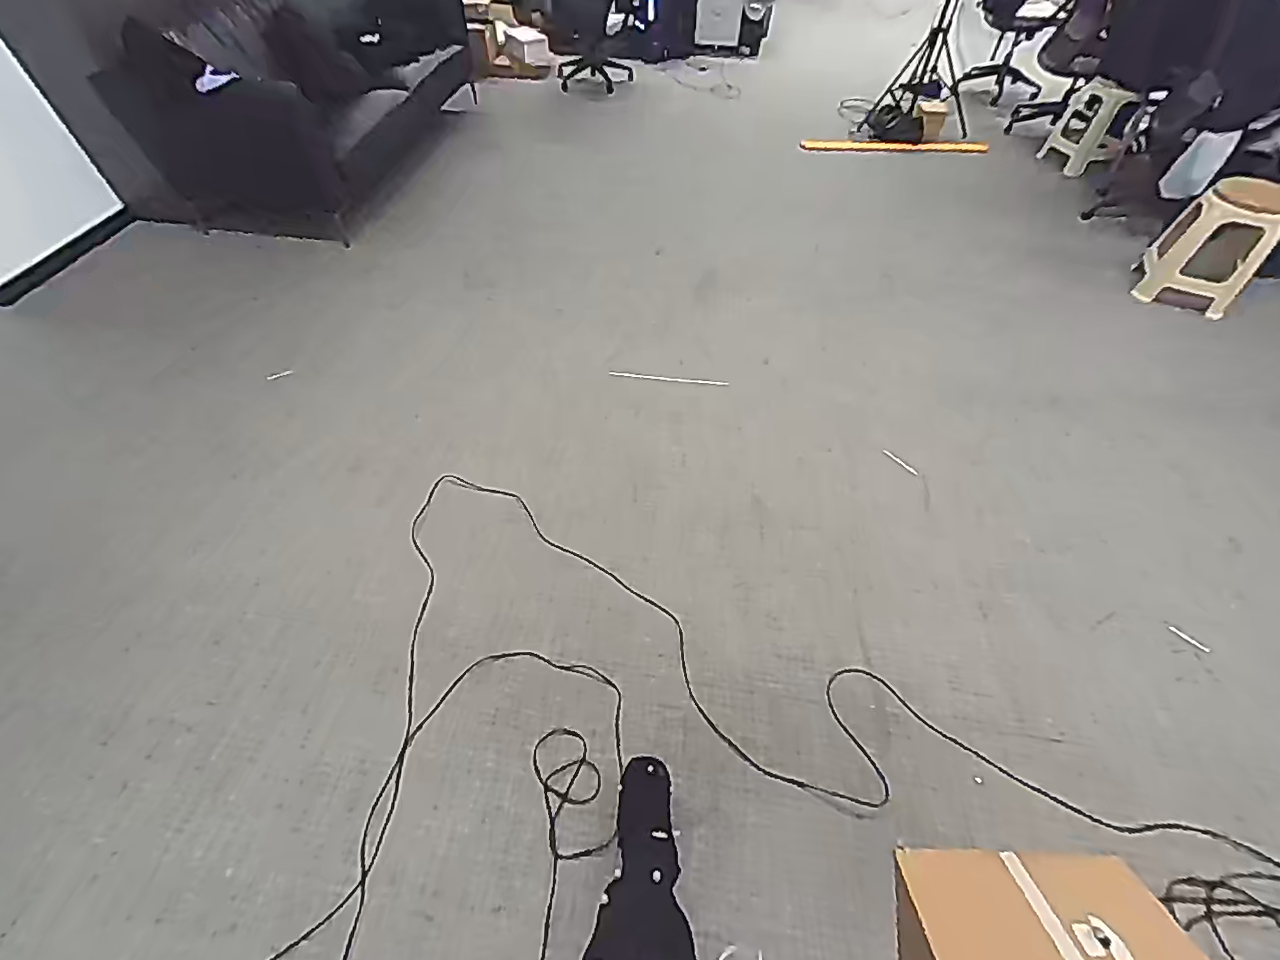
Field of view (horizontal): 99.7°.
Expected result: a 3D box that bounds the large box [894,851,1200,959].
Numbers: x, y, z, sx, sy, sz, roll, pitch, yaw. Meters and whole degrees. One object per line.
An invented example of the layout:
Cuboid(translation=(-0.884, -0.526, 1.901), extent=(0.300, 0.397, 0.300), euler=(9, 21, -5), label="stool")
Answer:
Cuboid(translation=(0.533, 0.744, 0.641), extent=(0.320, 0.320, 0.408), euler=(-4, 8, 9), label="large box")
